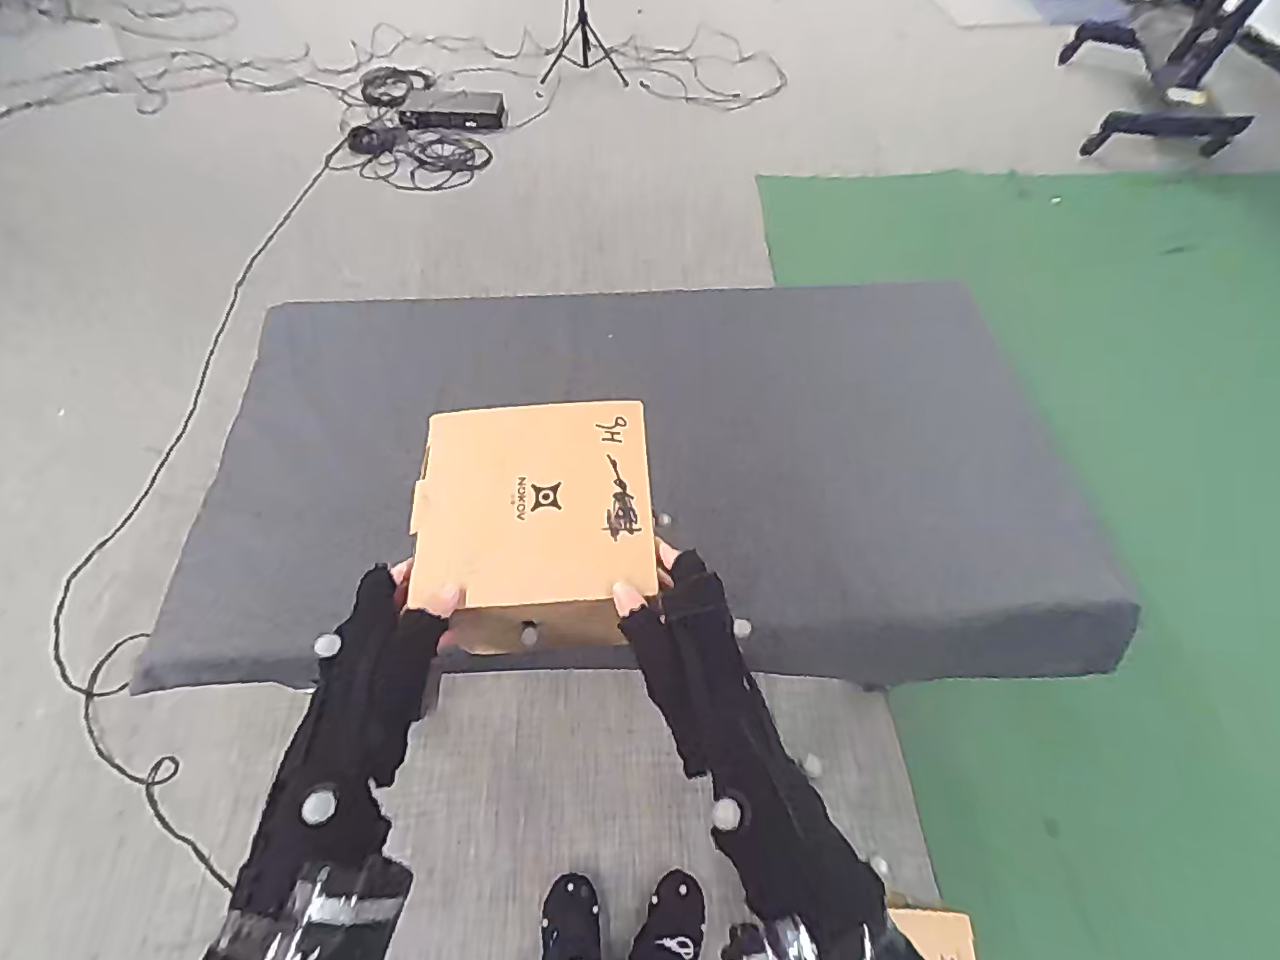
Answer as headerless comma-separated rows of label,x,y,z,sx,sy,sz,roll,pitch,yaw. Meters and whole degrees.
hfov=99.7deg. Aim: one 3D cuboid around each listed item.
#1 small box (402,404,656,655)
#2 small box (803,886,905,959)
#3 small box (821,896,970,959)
small box,-0.078,0.053,0.475,0.179,0.176,0.168,-3,63,0
small box,0.419,0.877,1.013,0.179,0.176,0.168,4,58,2
small box,0.411,0.789,0.873,0.179,0.176,0.168,4,58,1
